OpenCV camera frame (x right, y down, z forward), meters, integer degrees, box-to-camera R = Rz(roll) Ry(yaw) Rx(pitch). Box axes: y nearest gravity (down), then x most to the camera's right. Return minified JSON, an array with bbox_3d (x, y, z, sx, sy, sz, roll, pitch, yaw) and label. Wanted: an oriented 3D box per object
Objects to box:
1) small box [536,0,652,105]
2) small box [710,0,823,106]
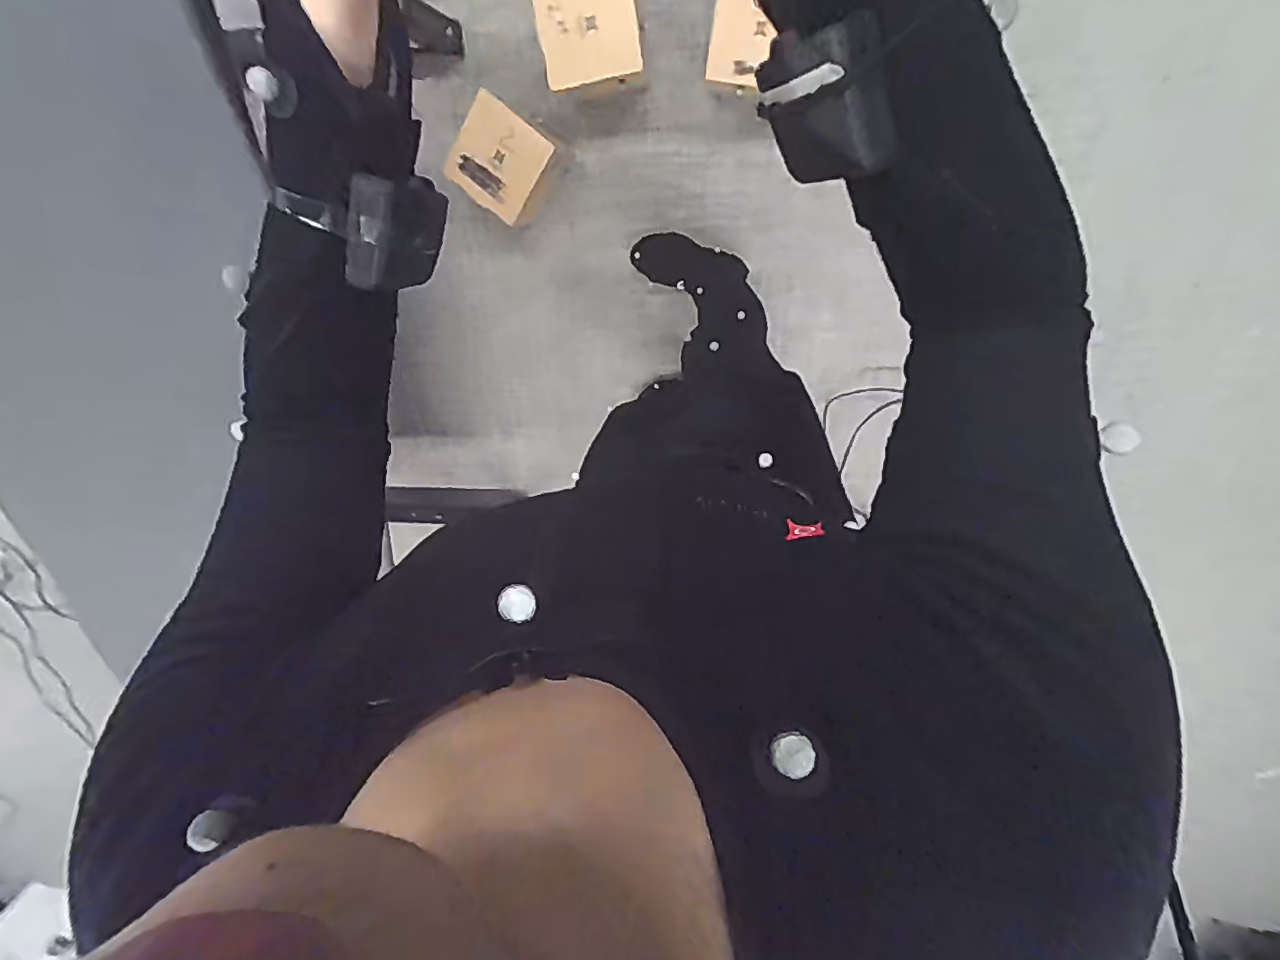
[{"bbox_3d":[-0.075,-0.815,1.000,0.179,0.176,0.168,-5,118,11],"label":"small box"},{"bbox_3d":[0.219,-0.795,0.970,0.168,0.176,0.179,9,120,2],"label":"small box"}]
